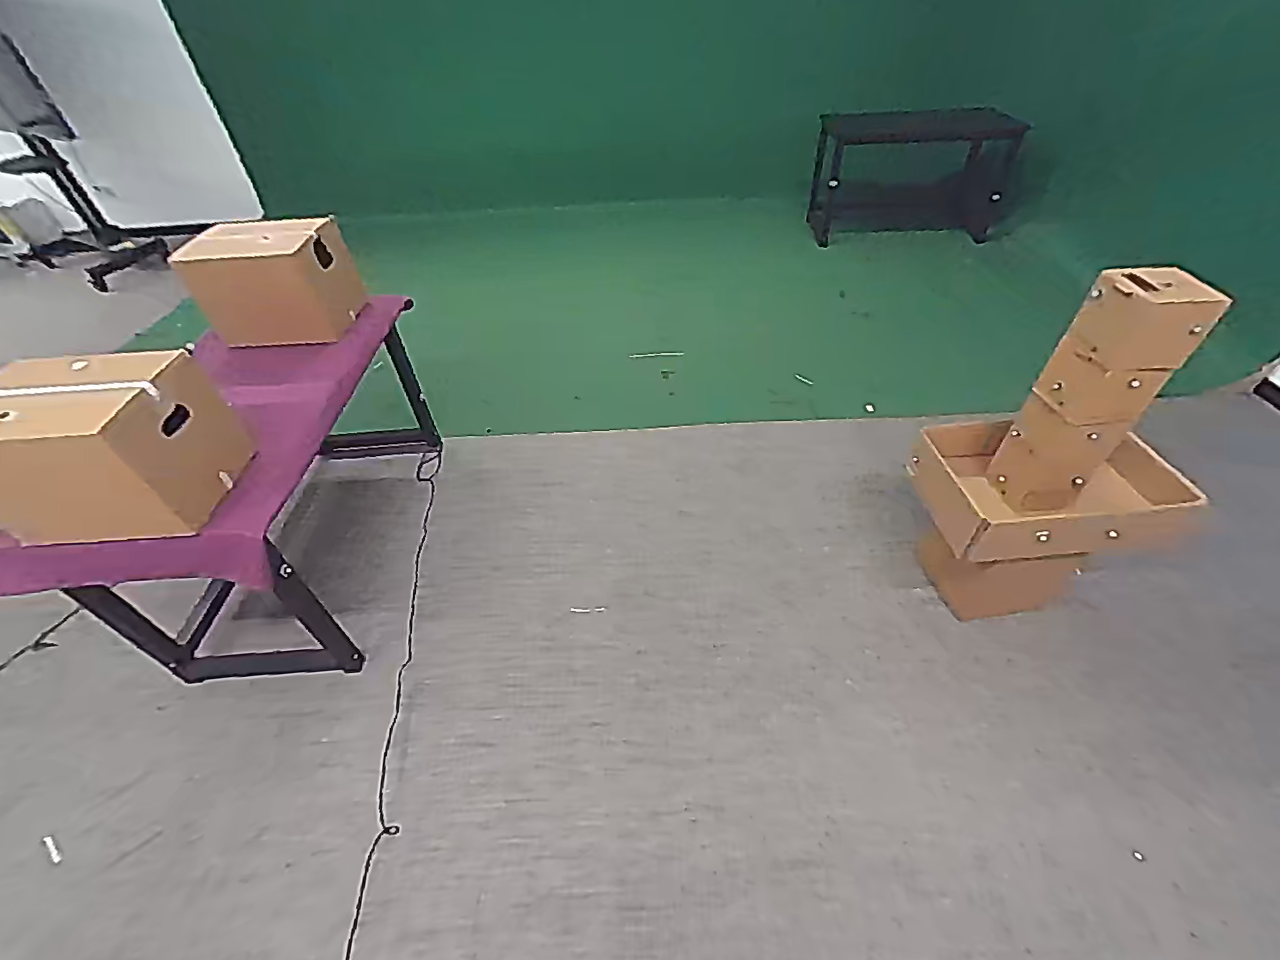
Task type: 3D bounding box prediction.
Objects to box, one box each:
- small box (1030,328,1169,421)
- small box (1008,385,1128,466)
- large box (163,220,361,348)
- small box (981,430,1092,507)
[{"bbox_3d":[1.154,-0.267,1.377,0.179,0.176,0.168,-6,45,-4],"label":"small box"},{"bbox_3d":[1.161,-0.153,1.492,0.179,0.176,0.168,-4,44,-5],"label":"small box"},{"bbox_3d":[-1.255,-0.669,1.849,0.408,0.320,0.320,-2,46,0],"label":"large box"},{"bbox_3d":[1.164,-0.036,1.606,0.179,0.176,0.168,-4,44,-2],"label":"small box"}]
